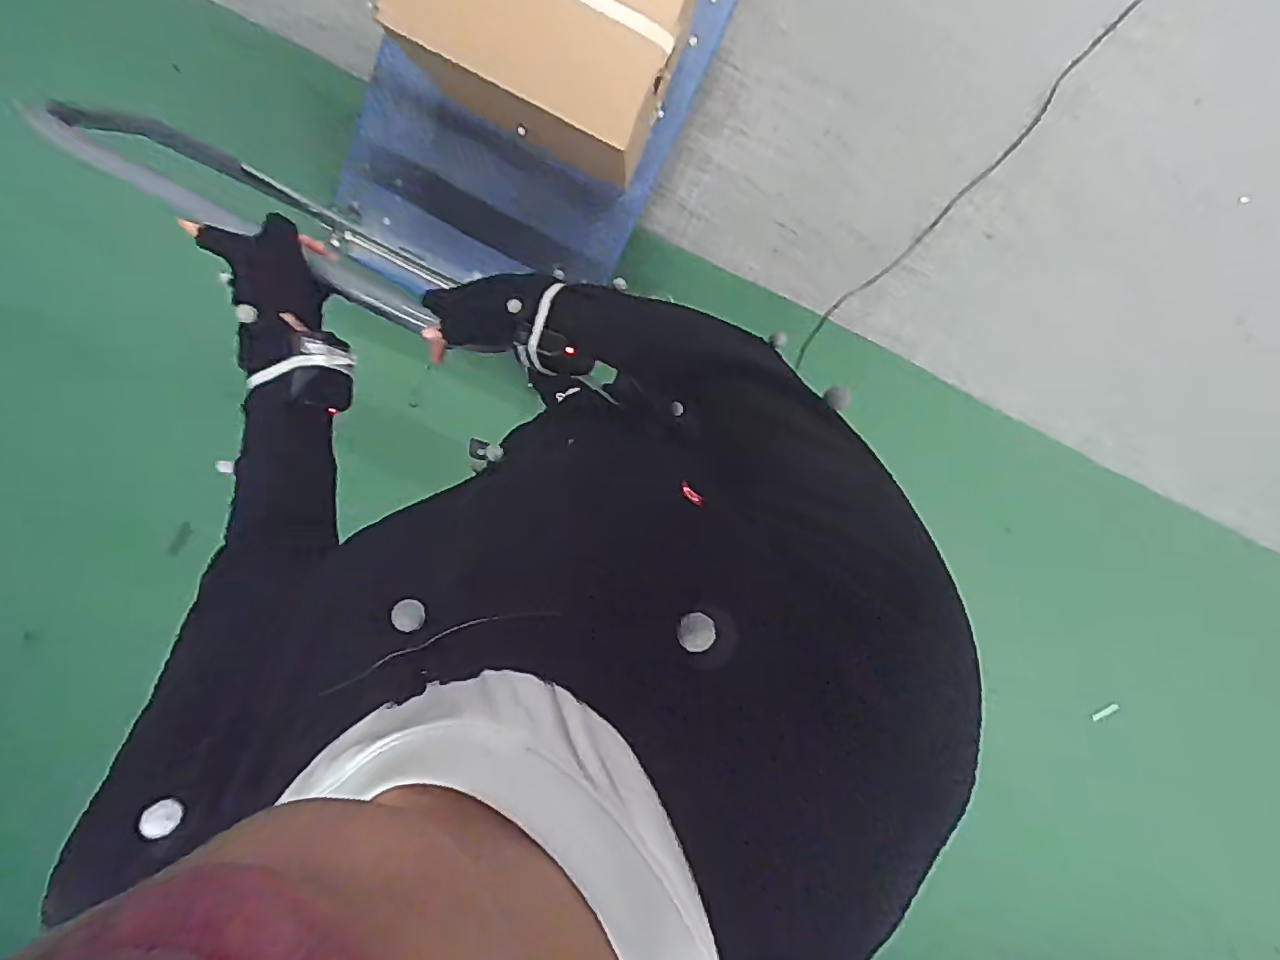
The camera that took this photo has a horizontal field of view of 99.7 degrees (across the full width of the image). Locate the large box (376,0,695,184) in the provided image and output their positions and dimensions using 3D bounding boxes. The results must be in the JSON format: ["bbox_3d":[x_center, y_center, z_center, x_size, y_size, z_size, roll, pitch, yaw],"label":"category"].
[{"bbox_3d":[-0.144,-0.772,0.917,0.408,0.320,0.320,25,105,-7],"label":"large box"}]
